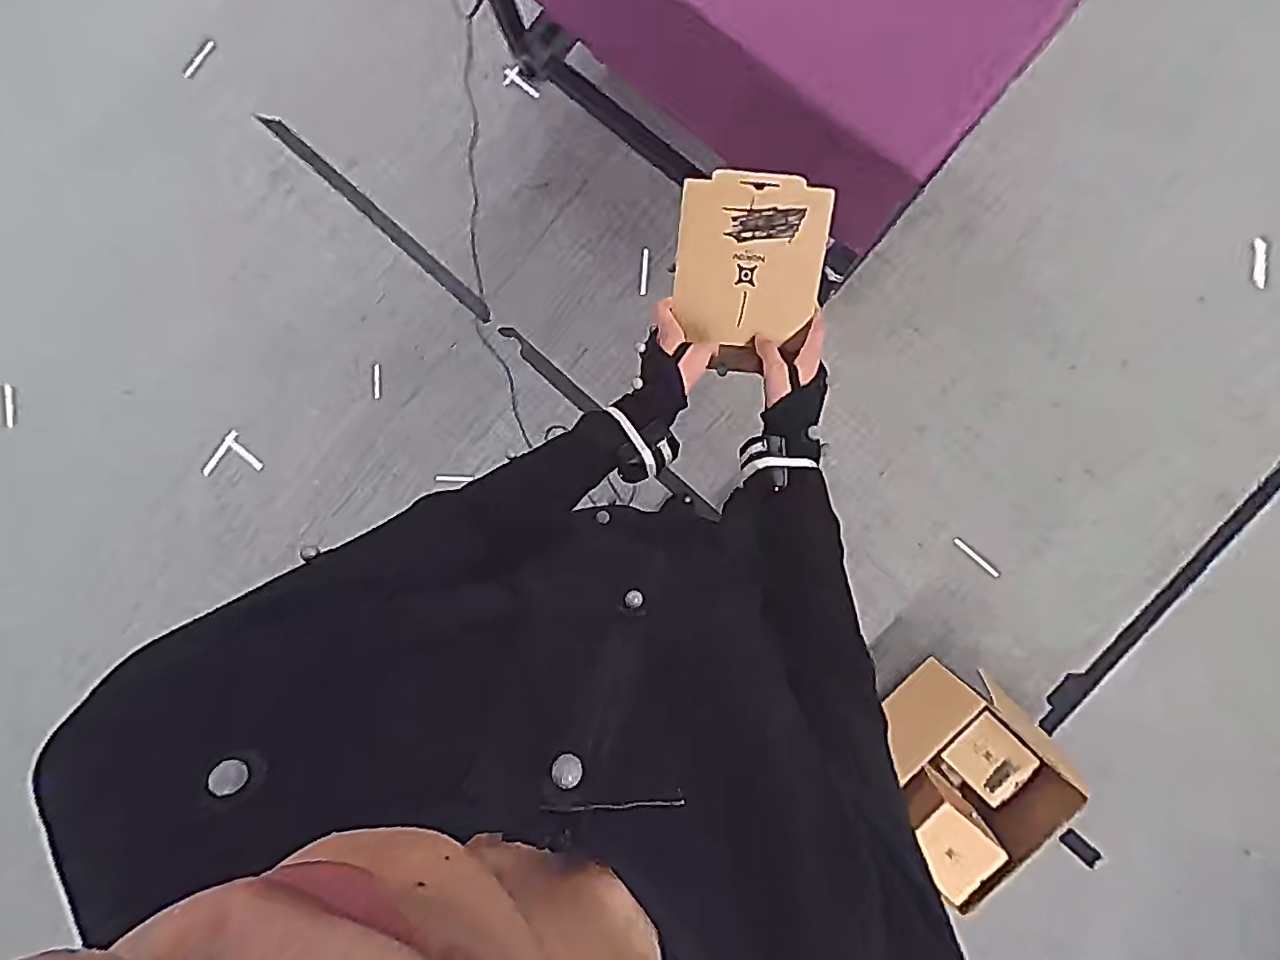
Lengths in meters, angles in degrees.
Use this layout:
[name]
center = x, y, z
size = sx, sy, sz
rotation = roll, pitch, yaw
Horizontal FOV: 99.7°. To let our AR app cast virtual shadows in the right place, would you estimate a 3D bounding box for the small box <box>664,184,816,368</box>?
[small box]
center = 0.120, -0.255, 0.711
size = 0.168, 0.176, 0.179
rotation = 5, 92, 3
